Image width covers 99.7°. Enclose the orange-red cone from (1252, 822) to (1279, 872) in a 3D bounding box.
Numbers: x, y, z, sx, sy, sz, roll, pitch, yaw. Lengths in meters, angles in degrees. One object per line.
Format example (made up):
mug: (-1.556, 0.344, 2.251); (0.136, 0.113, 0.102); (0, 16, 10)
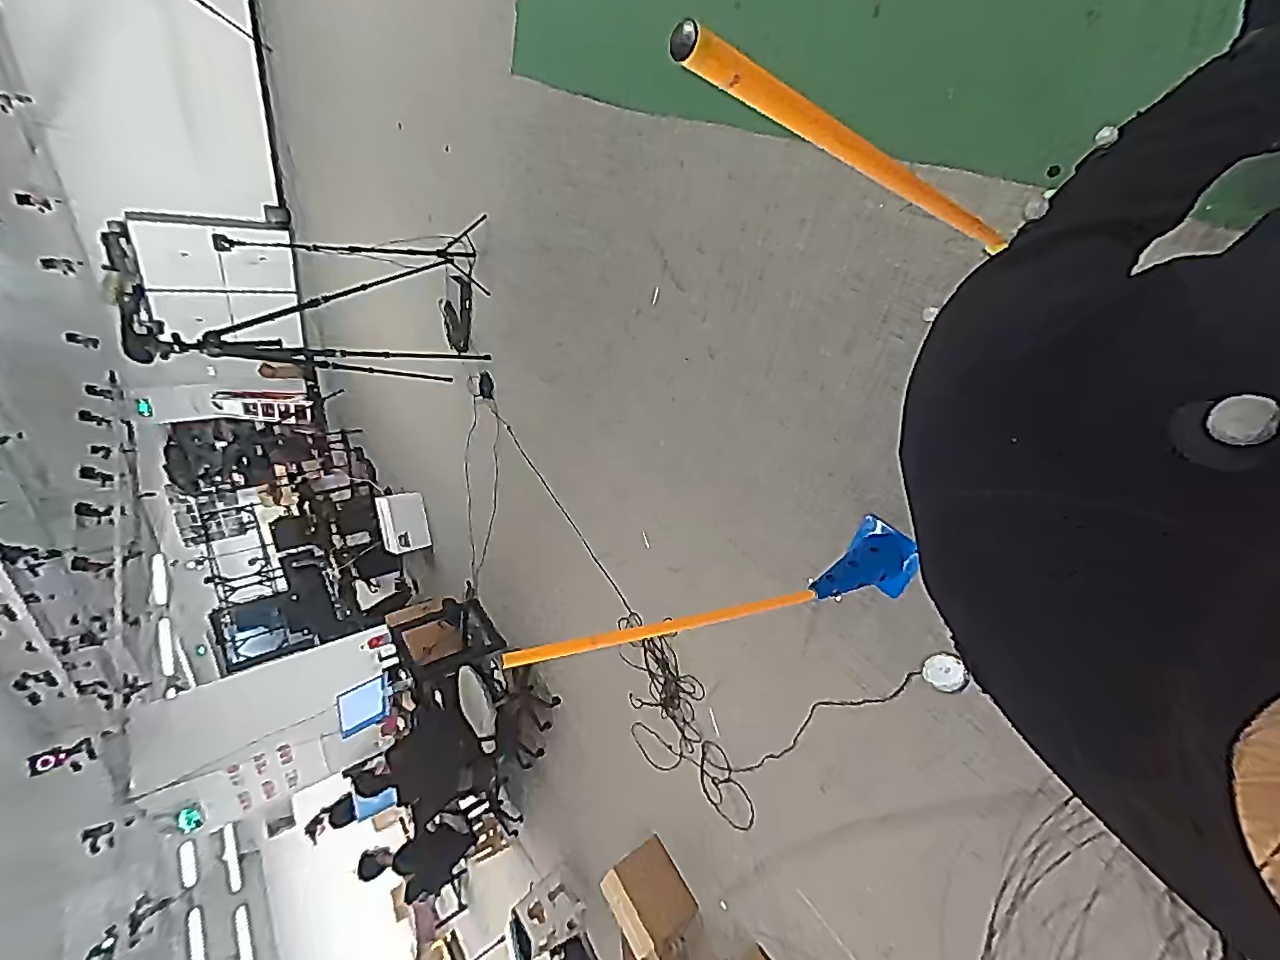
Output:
orange-red cone: (1.209, 0.767, 0.924); (0.199, 0.360, 0.198); (43, 132, 38)
